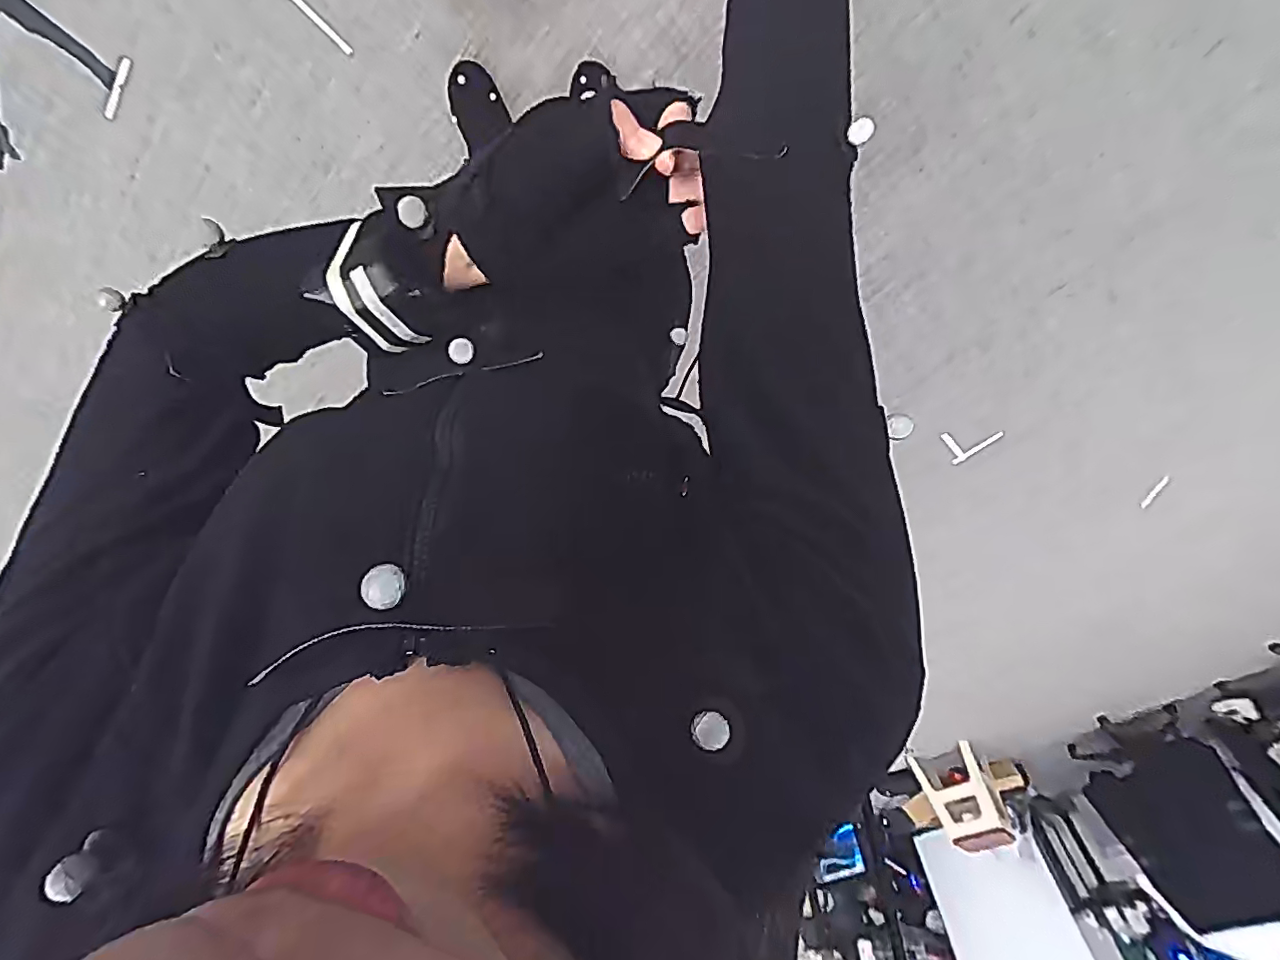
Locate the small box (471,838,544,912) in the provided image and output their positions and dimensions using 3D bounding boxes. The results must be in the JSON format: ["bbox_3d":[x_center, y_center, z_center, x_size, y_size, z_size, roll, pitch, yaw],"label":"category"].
[{"bbox_3d":[-0.455,1.370,1.881,0.168,0.176,0.179,-38,122,26],"label":"small box"}]
